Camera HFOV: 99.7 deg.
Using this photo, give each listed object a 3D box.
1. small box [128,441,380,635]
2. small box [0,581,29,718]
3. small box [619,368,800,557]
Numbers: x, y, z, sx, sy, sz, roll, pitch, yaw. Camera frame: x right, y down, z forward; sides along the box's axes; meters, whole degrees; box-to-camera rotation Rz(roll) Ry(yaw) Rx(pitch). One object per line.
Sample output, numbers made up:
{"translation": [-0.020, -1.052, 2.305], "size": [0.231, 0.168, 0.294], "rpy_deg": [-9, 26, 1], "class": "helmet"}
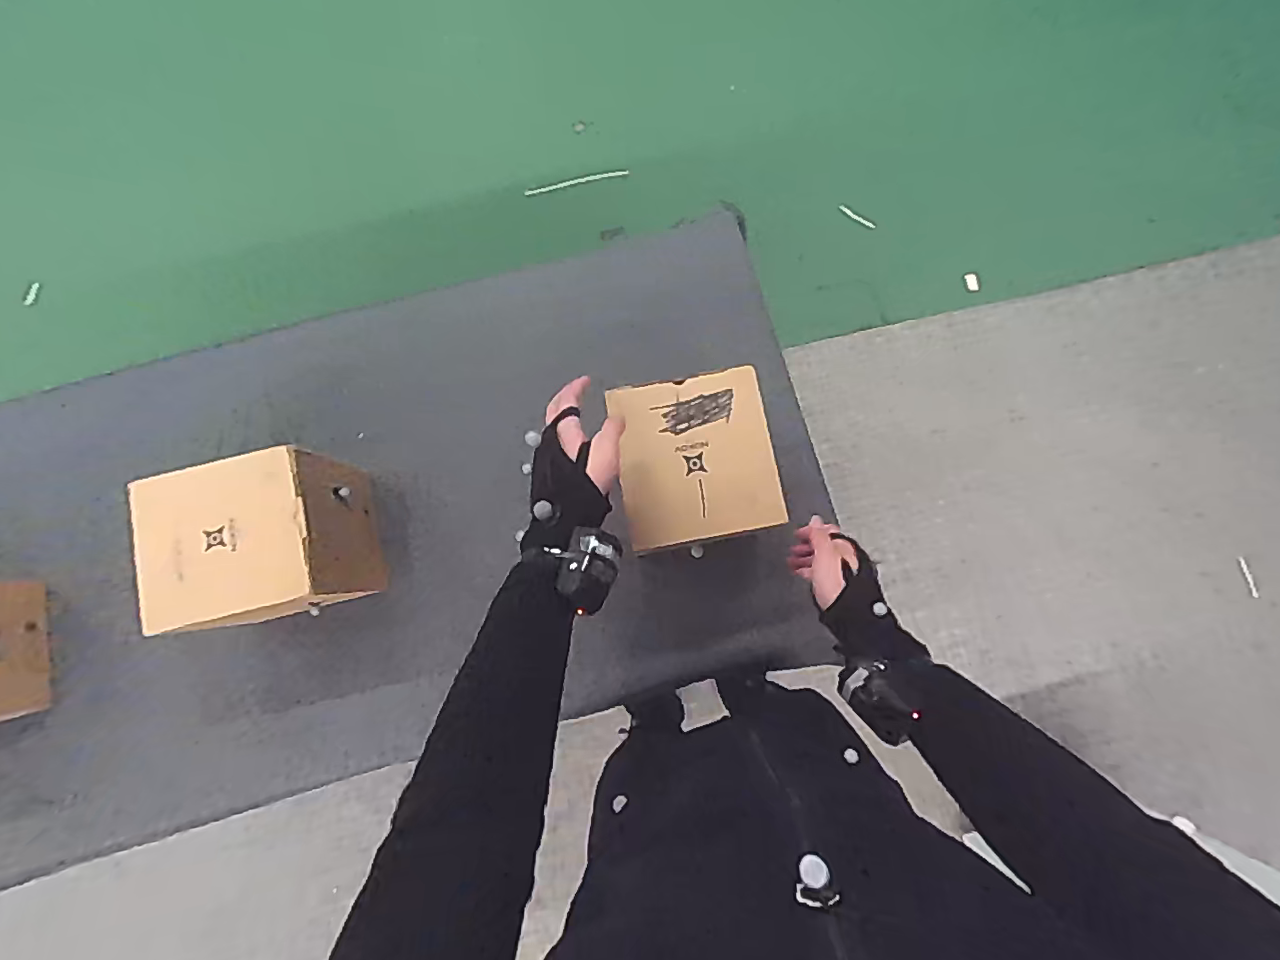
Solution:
{"translation": [-0.422, 0.070, 0.622], "size": [0.179, 0.176, 0.168], "rpy_deg": [-14, 78, -2], "class": "small box"}
{"translation": [-0.838, 0.207, 0.591], "size": [0.179, 0.176, 0.168], "rpy_deg": [-14, 79, -4], "class": "small box"}
{"translation": [0.068, -0.010, 0.635], "size": [0.168, 0.176, 0.179], "rpy_deg": [-9, 80, -1], "class": "small box"}
